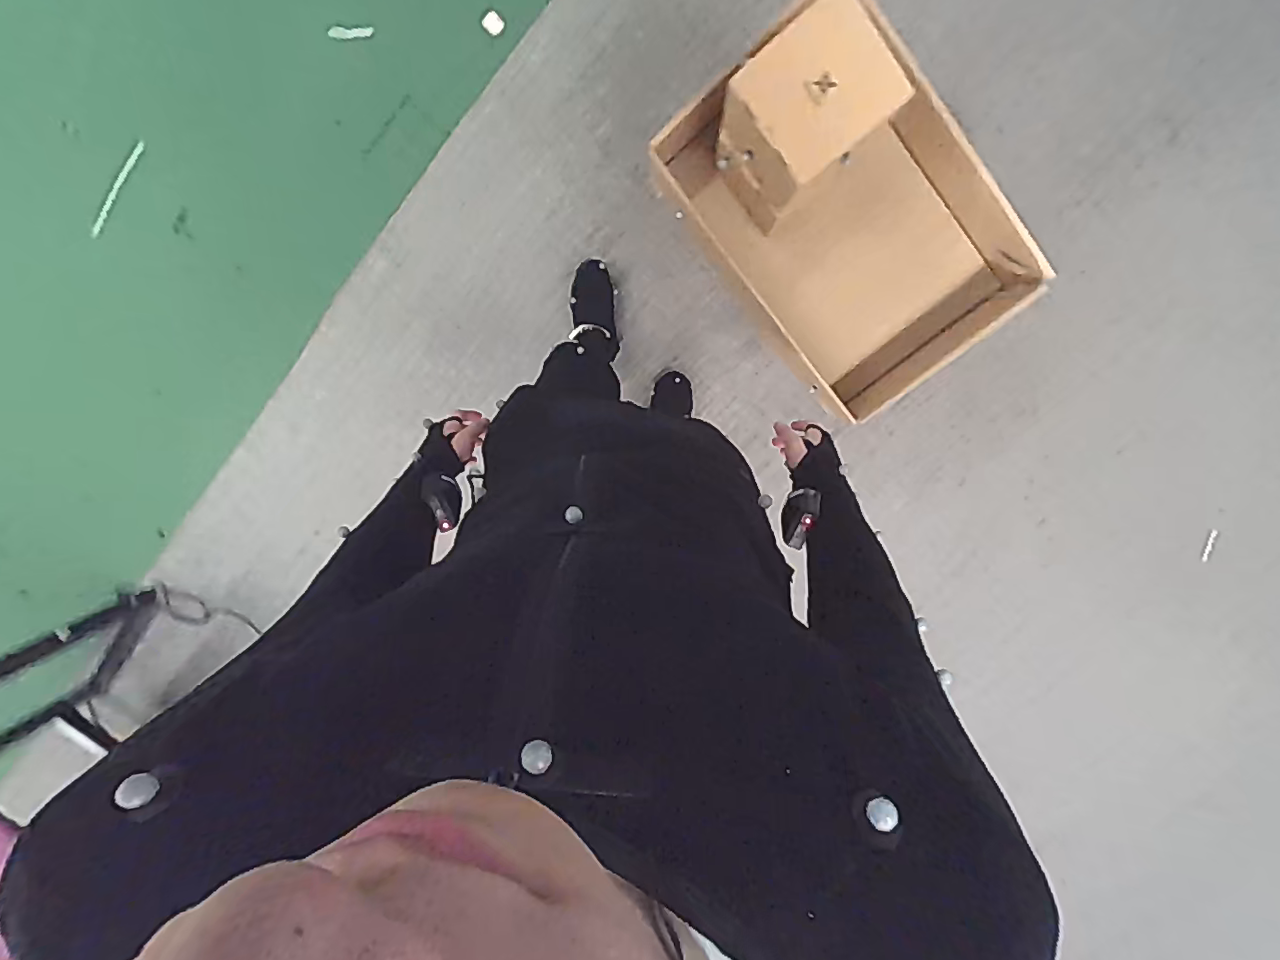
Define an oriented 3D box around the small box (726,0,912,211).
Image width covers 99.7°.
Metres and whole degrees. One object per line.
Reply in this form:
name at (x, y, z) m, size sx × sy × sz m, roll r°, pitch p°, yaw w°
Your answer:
small box at (0.242, -0.523, 0.777) m, size 0.179 × 0.176 × 0.168 m, roll -36°, pitch 101°, yaw 13°
